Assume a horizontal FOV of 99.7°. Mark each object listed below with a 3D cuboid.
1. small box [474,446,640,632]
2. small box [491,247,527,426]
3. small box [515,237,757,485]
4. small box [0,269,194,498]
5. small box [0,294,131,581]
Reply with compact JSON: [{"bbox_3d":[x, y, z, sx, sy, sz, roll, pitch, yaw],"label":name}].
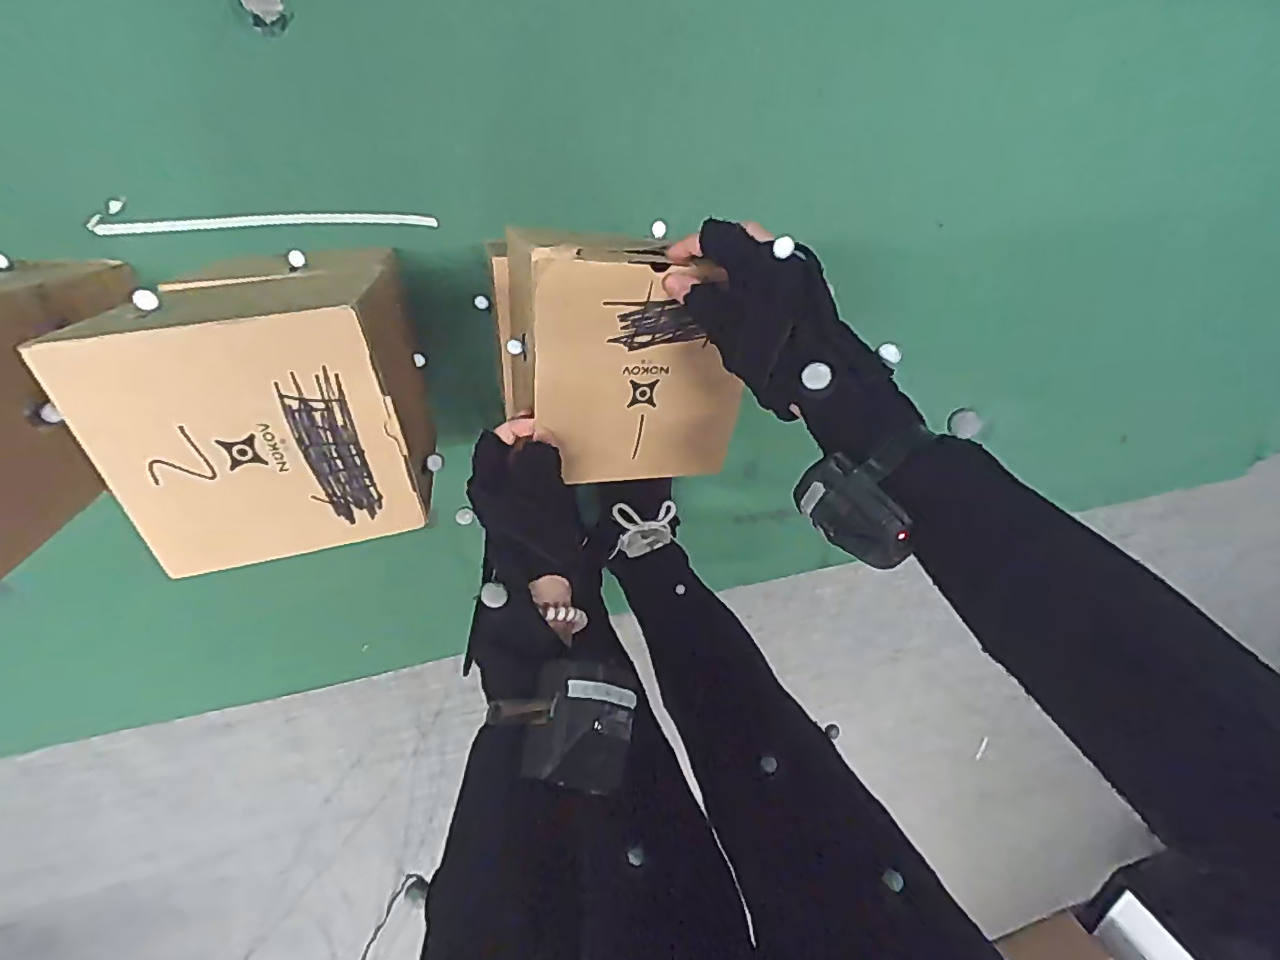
[{"bbox_3d":[-0.115,0.077,0.762,0.179,0.176,0.168,28,117,-10],"label":"small box"},{"bbox_3d":[-0.071,-0.174,0.623,0.179,0.176,0.168,-6,118,-15],"label":"small box"},{"bbox_3d":[-0.019,-0.114,0.480,0.168,0.176,0.179,-4,118,-16],"label":"small box"},{"bbox_3d":[-0.568,-0.093,0.507,0.168,0.176,0.179,-5,118,-15],"label":"small box"},{"bbox_3d":[-0.515,-0.029,0.364,0.179,0.176,0.168,-6,118,-15],"label":"small box"}]
